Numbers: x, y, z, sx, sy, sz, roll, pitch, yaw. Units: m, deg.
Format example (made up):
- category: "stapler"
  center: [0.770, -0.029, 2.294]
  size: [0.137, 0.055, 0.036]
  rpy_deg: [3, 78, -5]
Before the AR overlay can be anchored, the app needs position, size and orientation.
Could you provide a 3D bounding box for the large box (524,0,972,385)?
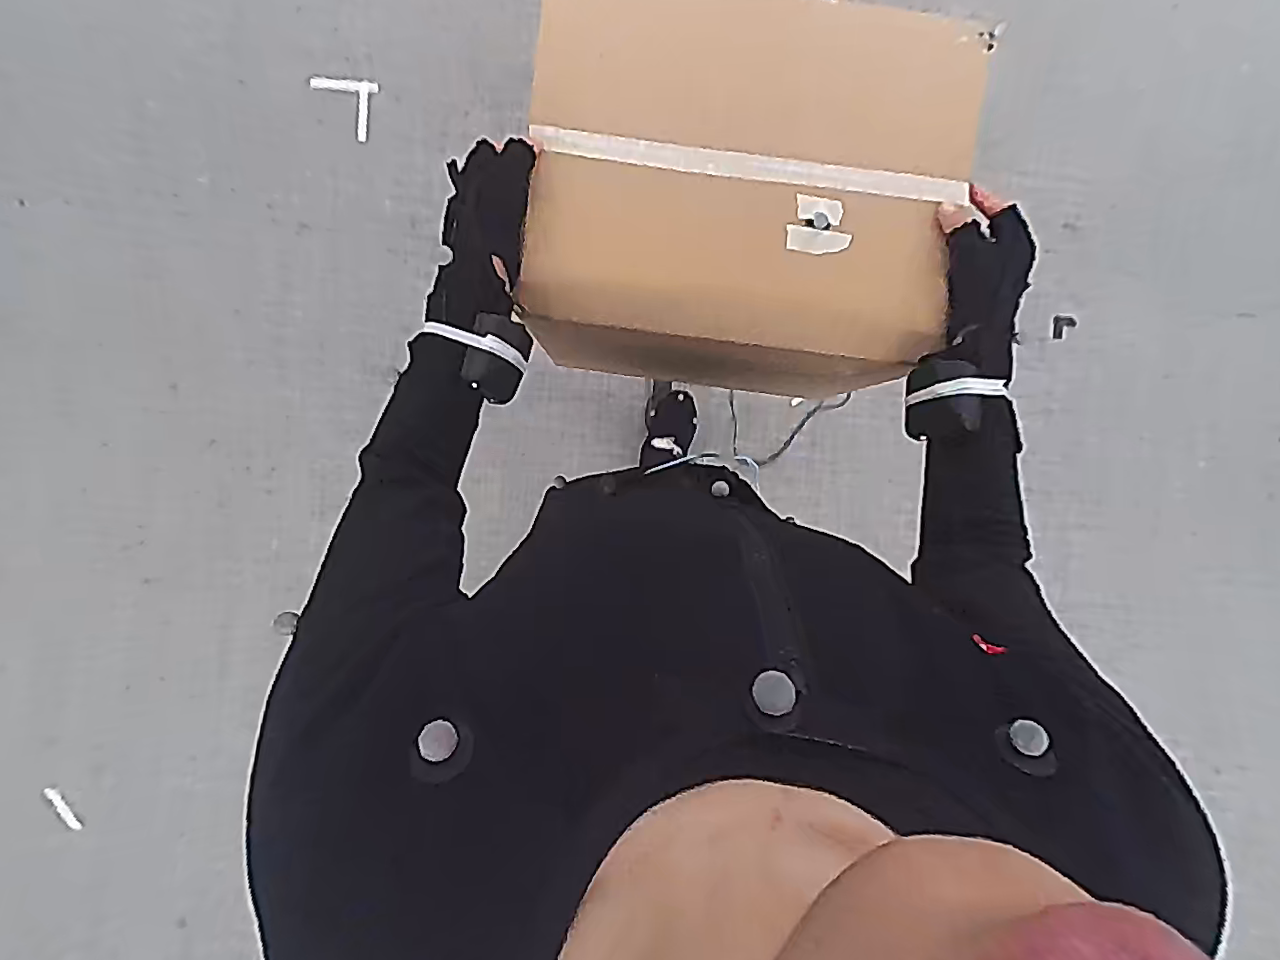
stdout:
- category: "large box"
  center: [0.095, -0.305, 0.657]
  size: [0.408, 0.320, 0.320]
  rpy_deg: [7, 94, -3]
